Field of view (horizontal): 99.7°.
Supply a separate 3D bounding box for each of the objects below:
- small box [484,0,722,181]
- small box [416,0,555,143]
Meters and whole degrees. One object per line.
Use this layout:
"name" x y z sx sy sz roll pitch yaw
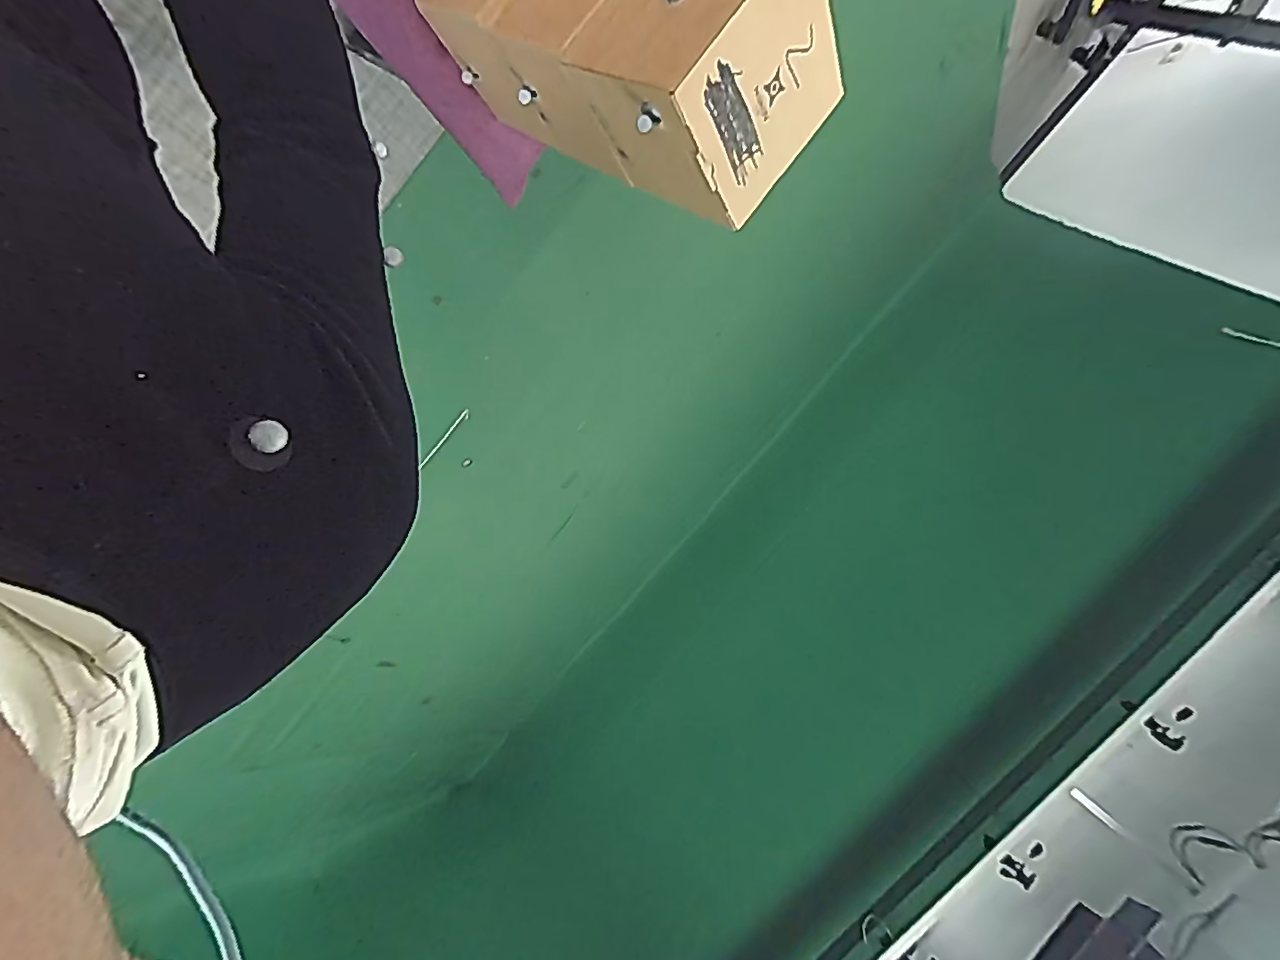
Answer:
"small box" -0.041 -0.495 0.618 0.179 0.176 0.168 -48 149 2
"small box" -0.148 -0.590 0.697 0.168 0.176 0.179 -49 150 2
